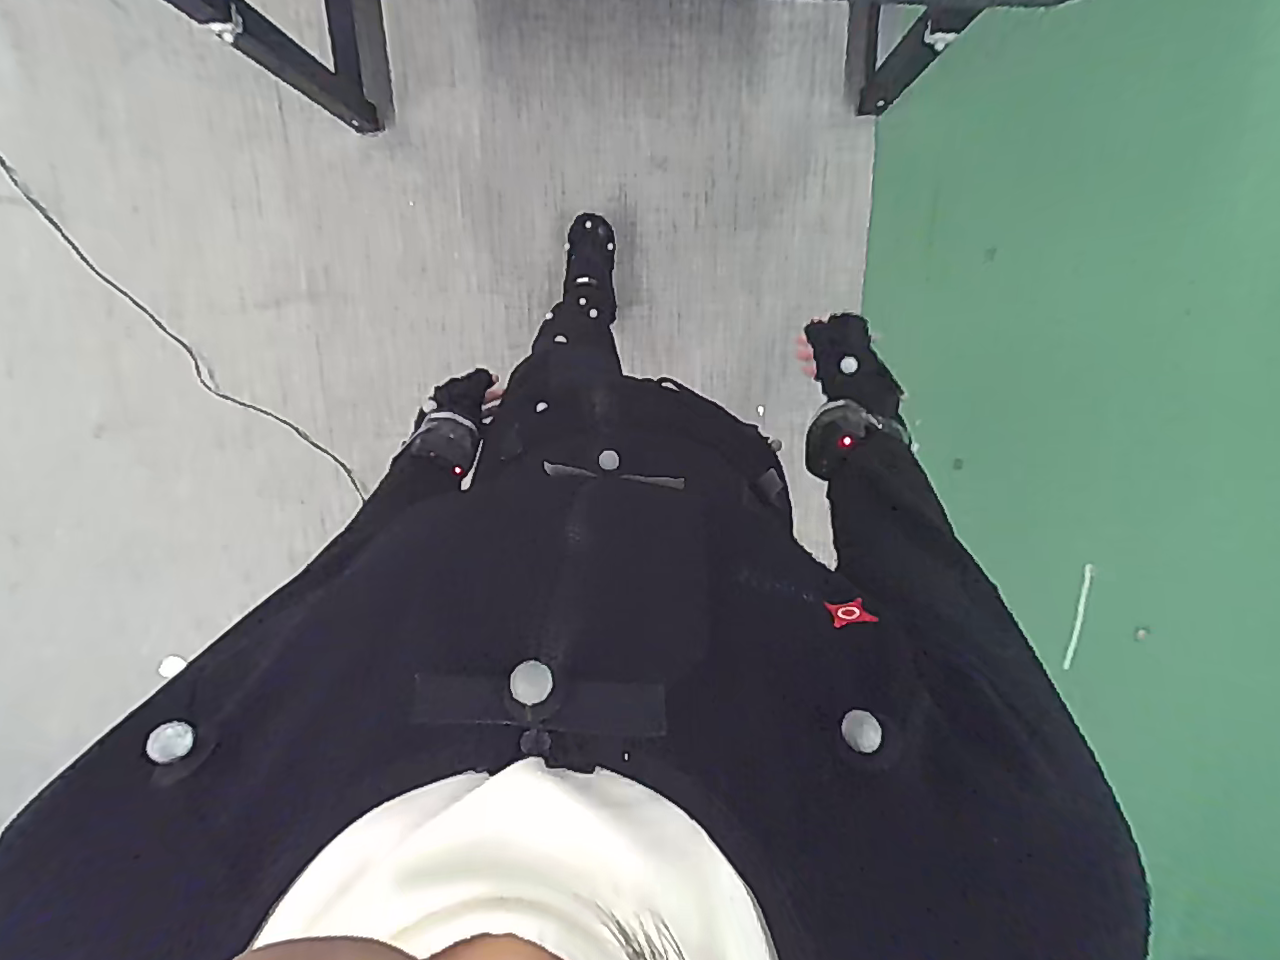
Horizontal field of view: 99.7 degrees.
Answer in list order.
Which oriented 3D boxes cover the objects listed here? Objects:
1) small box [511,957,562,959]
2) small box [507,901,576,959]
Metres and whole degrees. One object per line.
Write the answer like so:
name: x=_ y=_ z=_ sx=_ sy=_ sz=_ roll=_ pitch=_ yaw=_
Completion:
small box: x=-0.308 y=1.472 z=1.501 sx=0.179 sy=0.176 sz=0.168 roll=-2 pitch=105 yaw=3
small box: x=-0.299 y=1.452 z=1.683 sx=0.179 sy=0.176 sz=0.168 roll=-3 pitch=106 yaw=3
